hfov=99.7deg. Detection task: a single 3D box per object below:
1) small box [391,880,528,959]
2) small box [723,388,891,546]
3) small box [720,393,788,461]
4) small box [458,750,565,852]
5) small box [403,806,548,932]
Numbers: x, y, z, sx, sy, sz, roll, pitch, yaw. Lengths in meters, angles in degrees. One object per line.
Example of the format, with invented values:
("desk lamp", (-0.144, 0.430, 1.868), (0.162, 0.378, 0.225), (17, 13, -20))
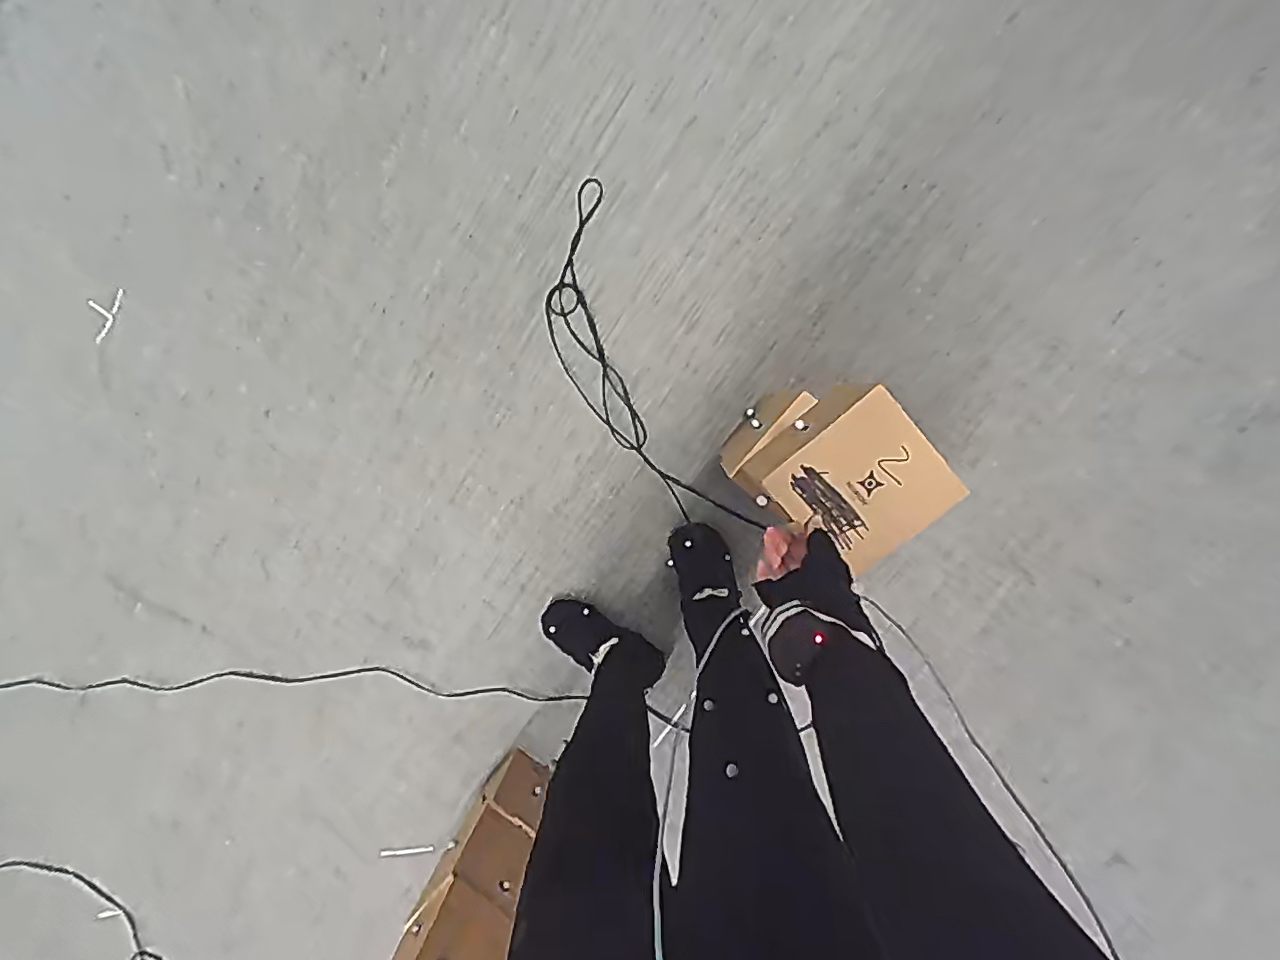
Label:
("small box", (-0.310, 0.813, 0.879), (0.179, 0.176, 0.168), (38, 101, -1))
("small box", (0.250, -0.027, 0.861), (0.179, 0.176, 0.168), (39, 100, -3))
("small box", (0.267, -0.049, 1.006), (0.179, 0.176, 0.168), (42, 100, -3))
("small box", (-0.284, 0.747, 1.199), (0.168, 0.176, 0.179), (38, 101, -1))
("small box", (-0.303, 0.780, 1.039), (0.179, 0.176, 0.168), (39, 101, -1))
